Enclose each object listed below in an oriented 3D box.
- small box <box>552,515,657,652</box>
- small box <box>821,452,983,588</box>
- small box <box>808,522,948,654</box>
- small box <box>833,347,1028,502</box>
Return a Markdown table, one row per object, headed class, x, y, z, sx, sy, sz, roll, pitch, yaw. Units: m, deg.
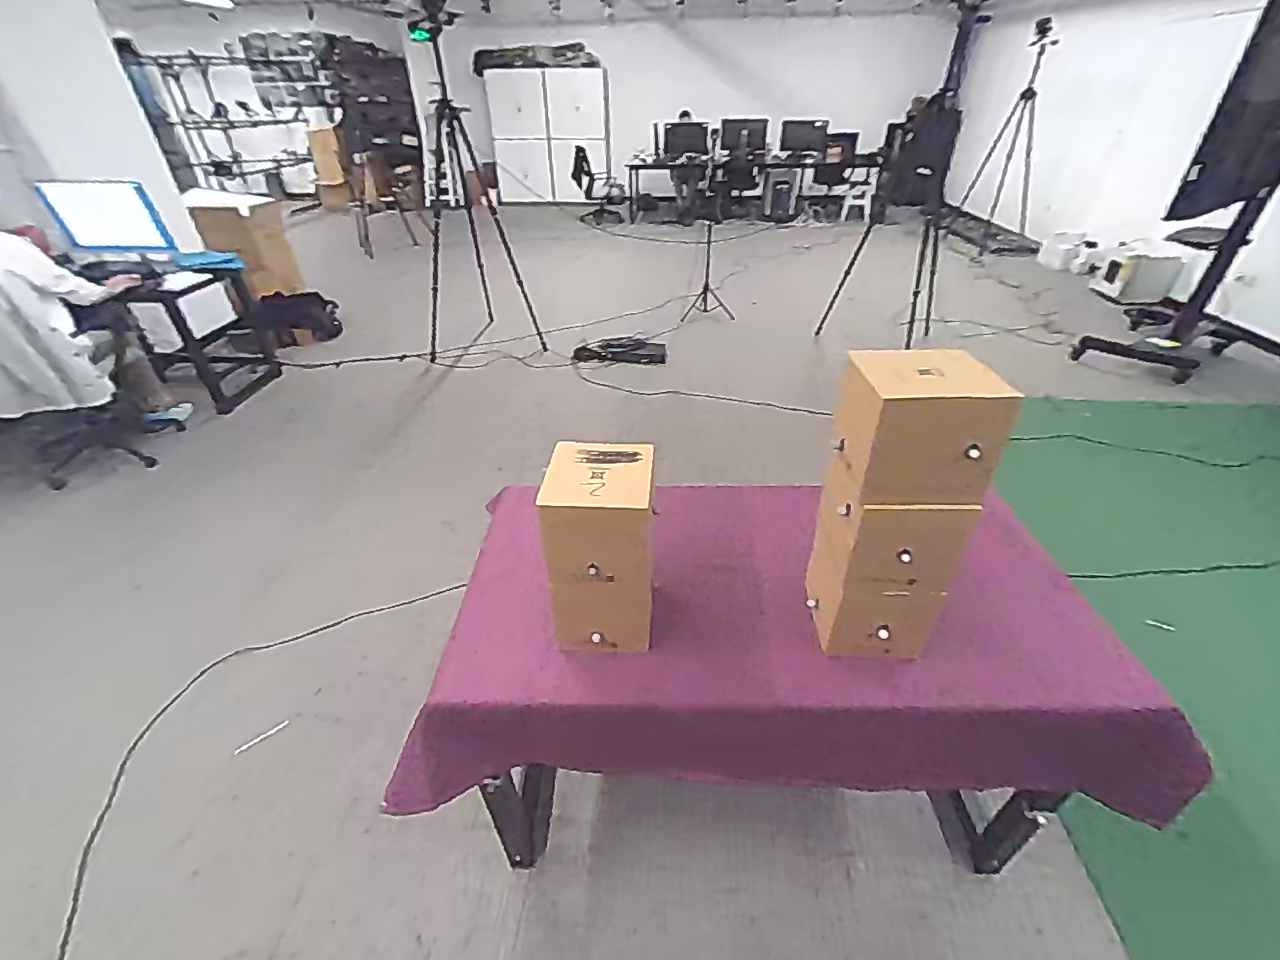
| class | x | y | z | sx | sy | sz | roll | pitch | yaw |
| --- | --- | --- | --- | --- | --- | --- | --- | --- | --- |
| small box | -0.057 | 0.184 | 0.983 | 0.168 | 0.176 | 0.179 | 2 | 37 | 4 |
| small box | 0.403 | 0.056 | 0.868 | 0.168 | 0.176 | 0.179 | 1 | 36 | 2 |
| small box | 0.410 | 0.190 | 0.964 | 0.168 | 0.176 | 0.179 | 1 | 37 | 3 |
| small box | 0.397 | -0.079 | 0.777 | 0.179 | 0.176 | 0.168 | 0 | 35 | 3 |
